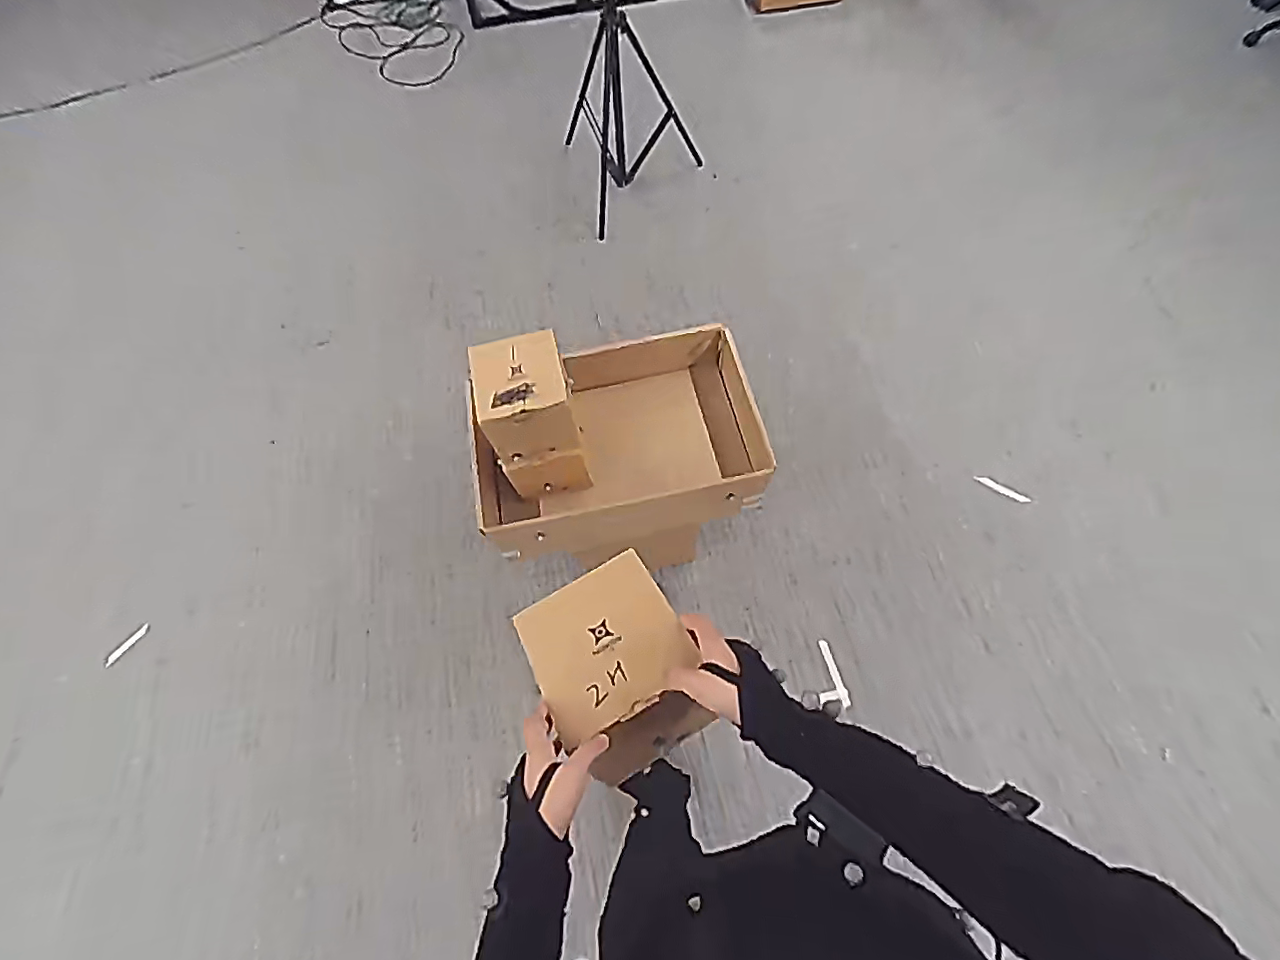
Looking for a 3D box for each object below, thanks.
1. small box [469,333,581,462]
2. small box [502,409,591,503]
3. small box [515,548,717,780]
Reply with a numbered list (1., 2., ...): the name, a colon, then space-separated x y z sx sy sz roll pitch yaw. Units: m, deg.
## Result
1. small box: -0.219 -0.151 1.055 0.168 0.176 0.179 -14 65 -3
2. small box: -0.211 -0.071 1.199 0.168 0.176 0.179 -14 66 -3
3. small box: -0.024 0.221 0.647 0.168 0.176 0.179 -28 50 -9
